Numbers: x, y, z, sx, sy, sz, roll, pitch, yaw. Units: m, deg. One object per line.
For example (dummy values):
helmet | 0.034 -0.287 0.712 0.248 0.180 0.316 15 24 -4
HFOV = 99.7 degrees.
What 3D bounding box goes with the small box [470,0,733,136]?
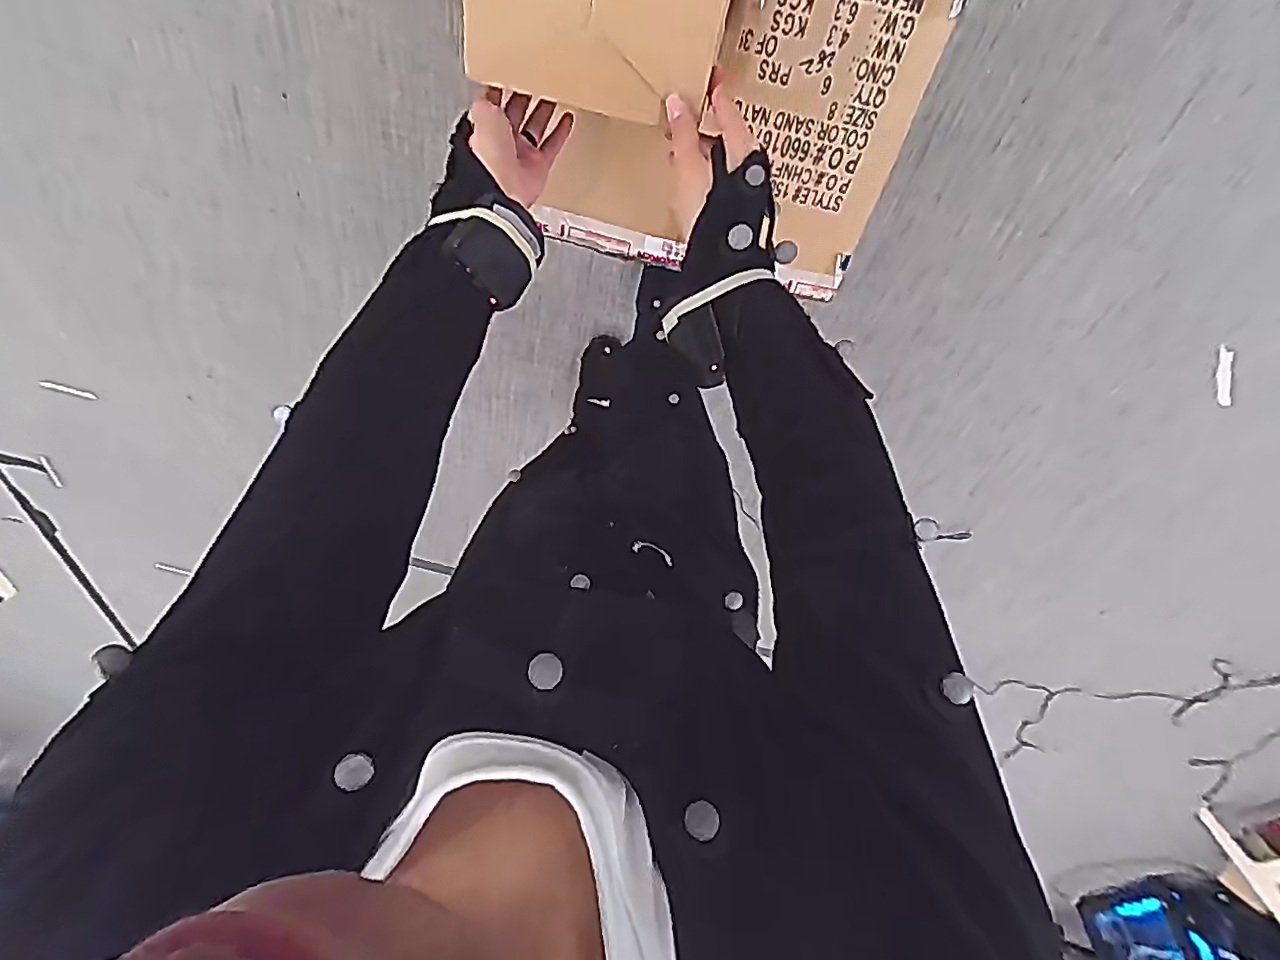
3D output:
small box | -0.015 -0.385 0.410 0.179 0.176 0.168 13 132 -2
